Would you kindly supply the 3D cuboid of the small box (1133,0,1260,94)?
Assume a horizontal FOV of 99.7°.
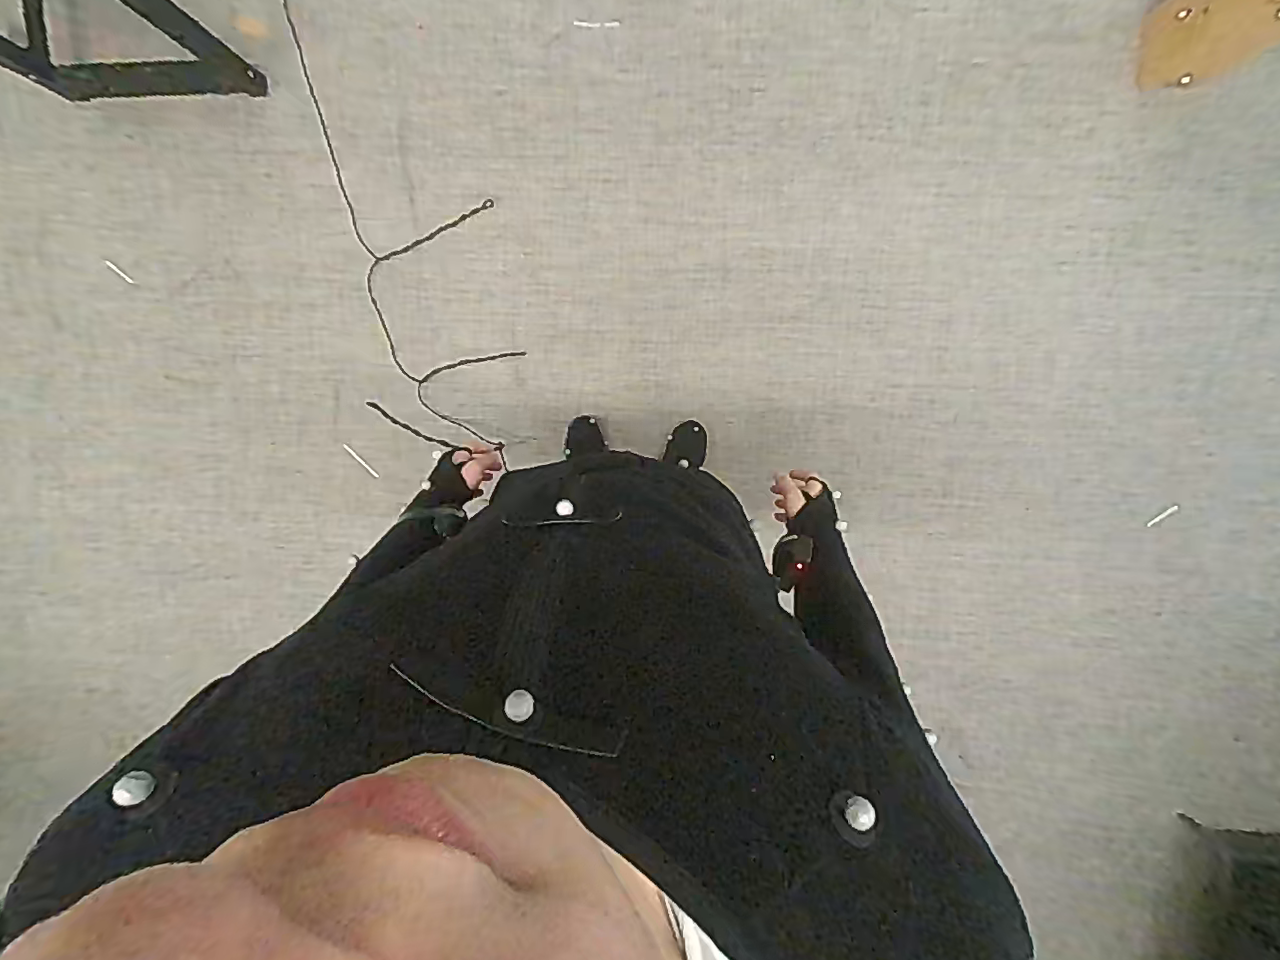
[{"bbox_3d":[1.394,-1.112,1.352,0.168,0.176,0.179,3,98,2],"label":"small box"}]
